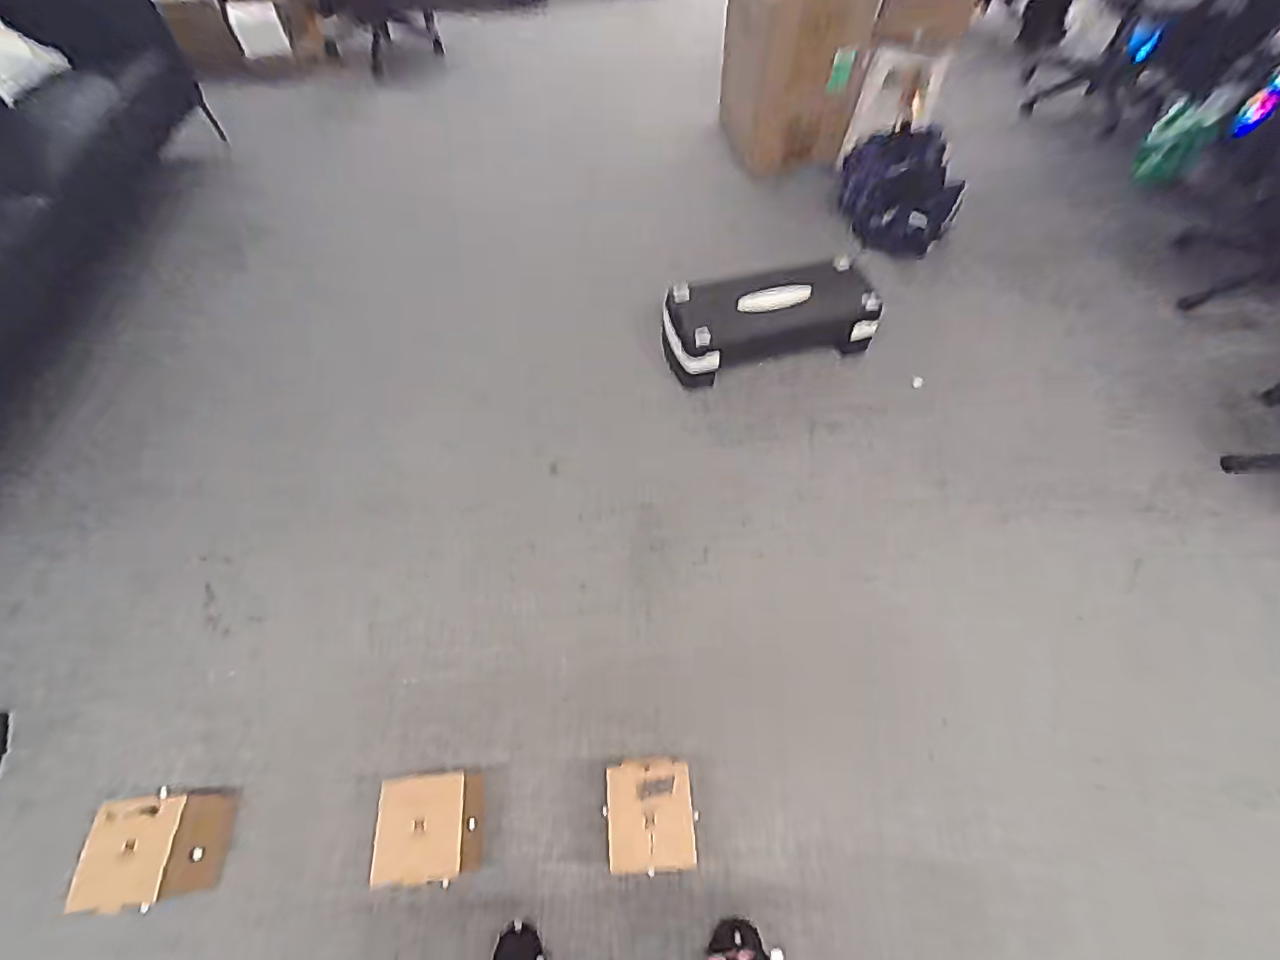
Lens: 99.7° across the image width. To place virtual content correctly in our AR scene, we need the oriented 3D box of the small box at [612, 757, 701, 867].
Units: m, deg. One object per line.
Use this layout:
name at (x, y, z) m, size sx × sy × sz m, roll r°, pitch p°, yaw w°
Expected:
small box at (0.030, 0.679, 1.112) m, size 0.168 × 0.176 × 0.179 m, roll -4°, pitch 60°, yaw 1°

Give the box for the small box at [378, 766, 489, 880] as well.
small box at (-0.416, 0.703, 1.119) m, size 0.168 × 0.176 × 0.179 m, roll -6°, pitch 58°, yaw -3°

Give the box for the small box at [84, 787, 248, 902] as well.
small box at (-0.957, 0.739, 1.113) m, size 0.168 × 0.176 × 0.179 m, roll -4°, pitch 60°, yaw -2°
